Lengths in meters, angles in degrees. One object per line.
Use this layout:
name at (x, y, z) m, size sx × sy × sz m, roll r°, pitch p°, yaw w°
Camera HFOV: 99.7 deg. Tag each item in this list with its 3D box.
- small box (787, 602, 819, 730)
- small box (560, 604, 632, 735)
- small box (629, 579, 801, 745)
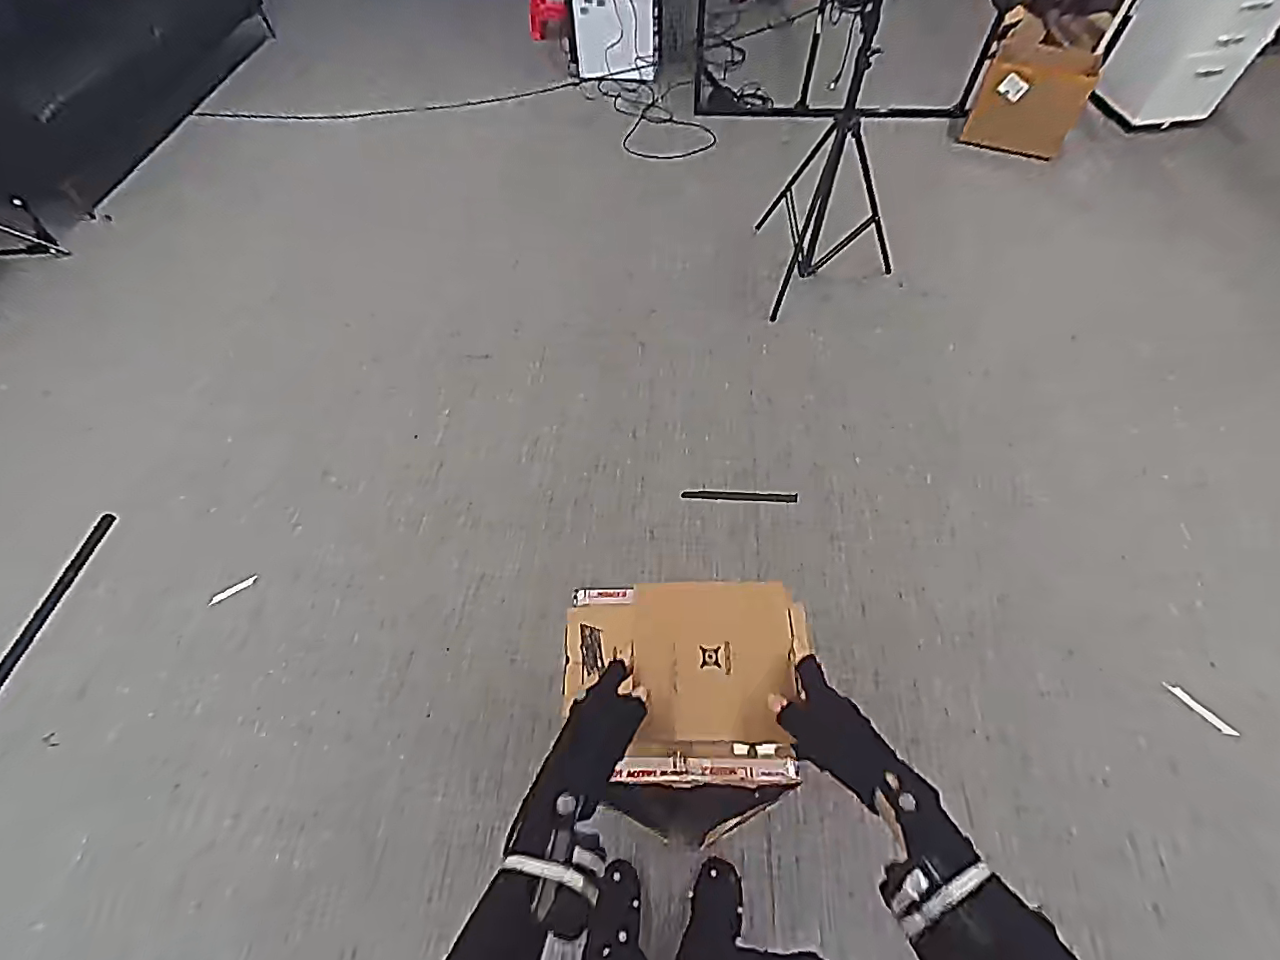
small box at (0.172, 0.308, 0.873) m, size 0.168 × 0.176 × 0.179 m, roll 1°, pitch 56°, yaw 1°
small box at (-0.026, 0.310, 0.876) m, size 0.179 × 0.176 × 0.168 m, roll -3°, pitch 57°, yaw 1°
small box at (0.081, 0.223, 0.651) m, size 0.179 × 0.176 × 0.168 m, roll -2°, pitch 62°, yaw 4°
